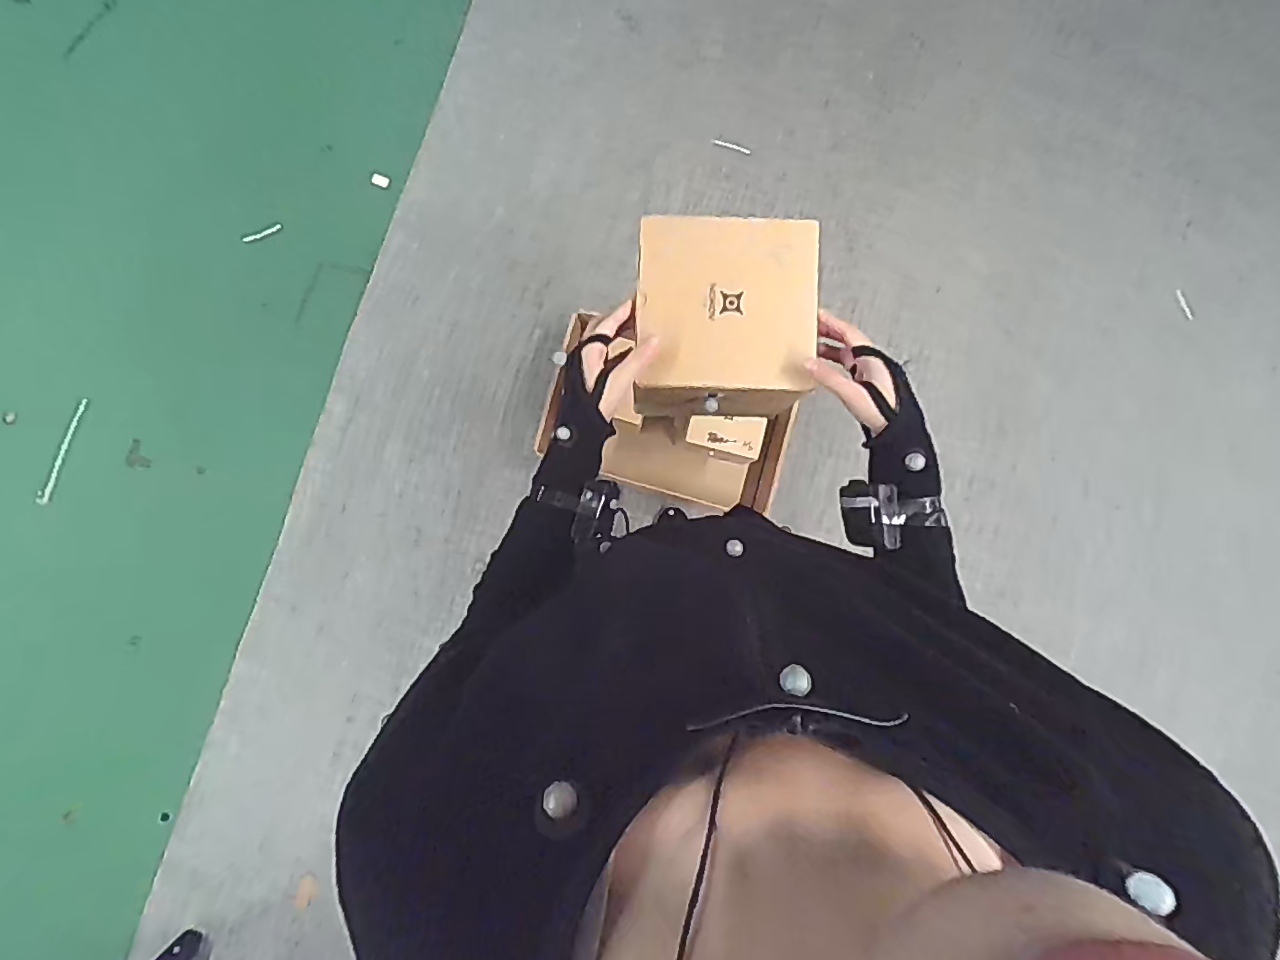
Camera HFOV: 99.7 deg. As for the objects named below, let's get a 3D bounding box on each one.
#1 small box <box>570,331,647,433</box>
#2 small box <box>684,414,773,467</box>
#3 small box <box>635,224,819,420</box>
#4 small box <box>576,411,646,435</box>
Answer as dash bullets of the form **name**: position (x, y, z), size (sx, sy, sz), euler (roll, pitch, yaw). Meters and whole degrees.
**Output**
- **small box**: position (-0.050, -0.217, 1.255), size (0.168, 0.176, 0.179), euler (17, 88, -1)
- **small box**: position (0.204, -0.138, 1.252), size (0.168, 0.176, 0.179), euler (15, 86, 1)
- **small box**: position (0.085, -0.162, 0.601), size (0.179, 0.176, 0.168), euler (1, 87, 2)
- **small box**: position (-0.059, -0.220, 1.420), size (0.179, 0.176, 0.168), euler (13, 87, -2)
